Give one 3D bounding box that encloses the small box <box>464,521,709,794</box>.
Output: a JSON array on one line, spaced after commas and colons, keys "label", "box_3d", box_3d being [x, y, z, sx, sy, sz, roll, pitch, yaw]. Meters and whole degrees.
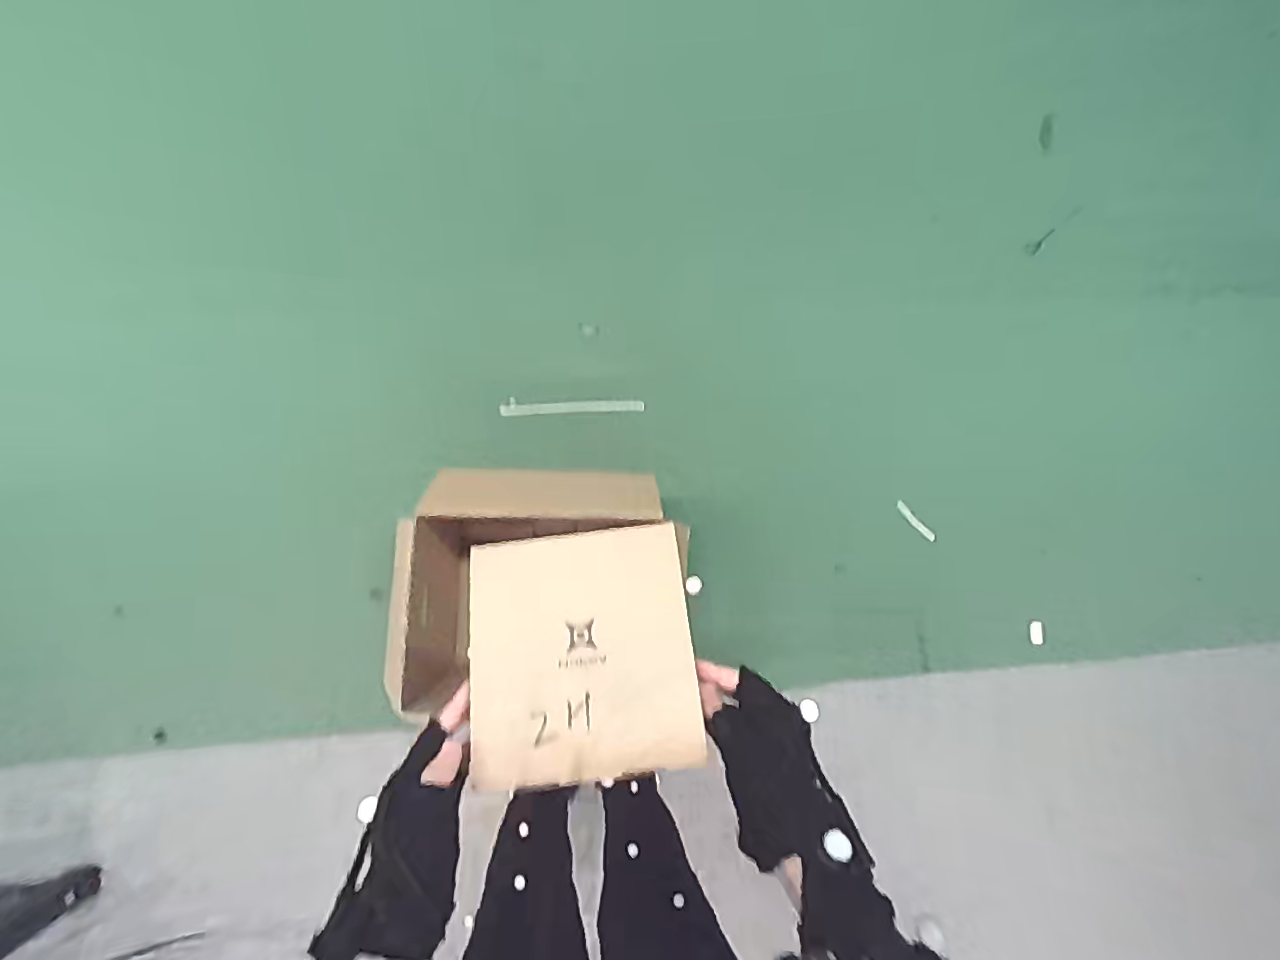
[{"label": "small box", "box_3d": [-0.041, 0.151, 0.463, 0.168, 0.176, 0.179, -7, 68, 0]}]
